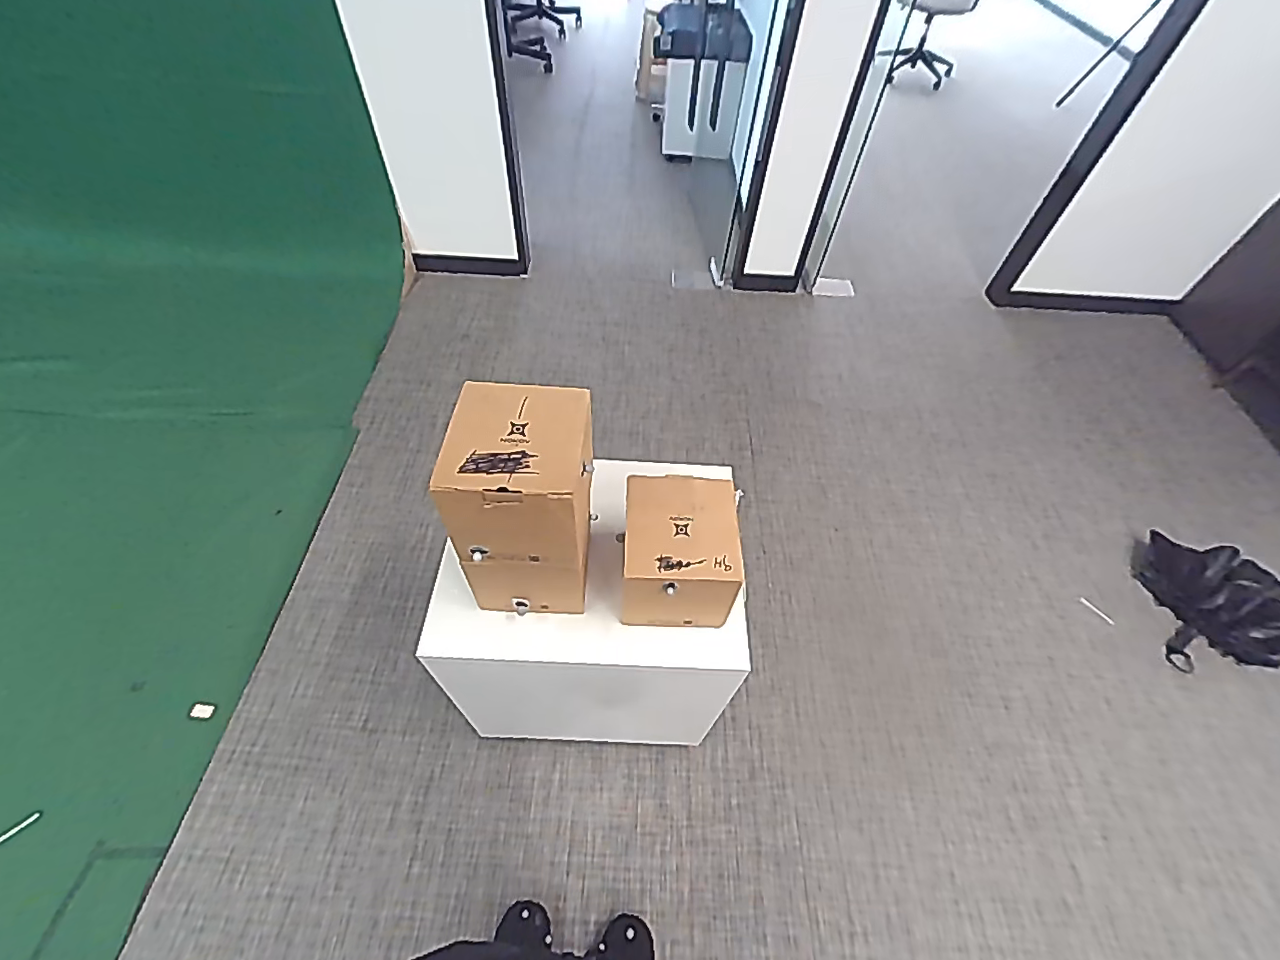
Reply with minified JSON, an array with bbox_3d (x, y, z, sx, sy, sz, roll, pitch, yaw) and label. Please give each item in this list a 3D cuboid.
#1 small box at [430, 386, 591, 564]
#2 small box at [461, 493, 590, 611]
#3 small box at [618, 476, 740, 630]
[{"bbox_3d":[-0.157,-0.003,0.724,0.168,0.176,0.179,4,51,0],"label":"small box"},{"bbox_3d":[-0.165,0.088,0.841,0.168,0.176,0.179,1,54,-3],"label":"small box"},{"bbox_3d":[0.053,0.116,0.851,0.168,0.176,0.179,3,52,-2],"label":"small box"}]
